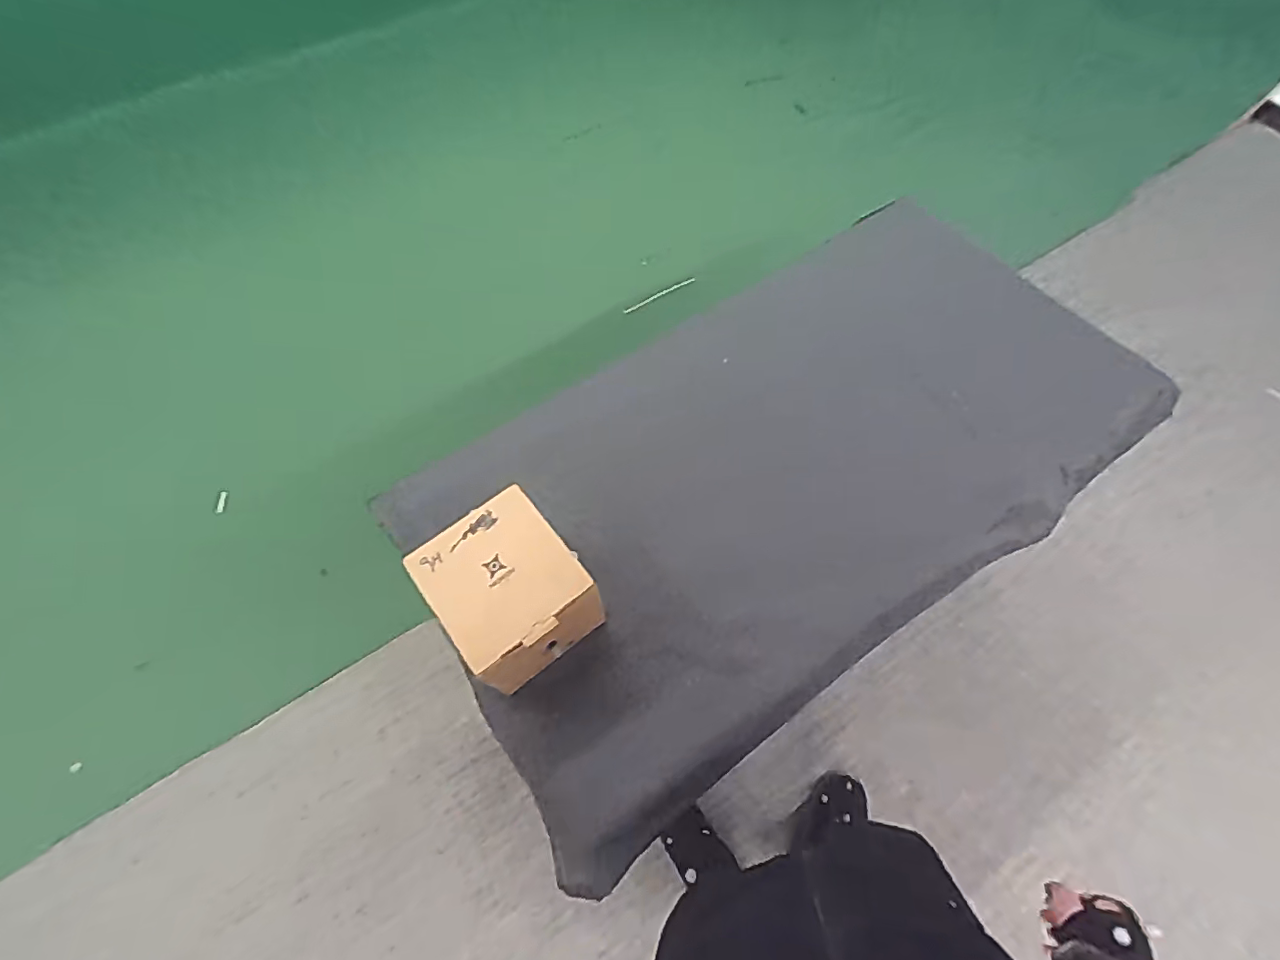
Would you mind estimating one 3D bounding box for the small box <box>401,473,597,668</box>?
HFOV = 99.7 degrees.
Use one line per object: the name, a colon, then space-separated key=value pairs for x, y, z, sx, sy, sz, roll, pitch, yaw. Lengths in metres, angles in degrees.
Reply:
small box: x=-0.171 y=0.128 z=0.711 sx=0.168 sy=0.176 sz=0.179 roll=-36 pitch=69 yaw=-16
